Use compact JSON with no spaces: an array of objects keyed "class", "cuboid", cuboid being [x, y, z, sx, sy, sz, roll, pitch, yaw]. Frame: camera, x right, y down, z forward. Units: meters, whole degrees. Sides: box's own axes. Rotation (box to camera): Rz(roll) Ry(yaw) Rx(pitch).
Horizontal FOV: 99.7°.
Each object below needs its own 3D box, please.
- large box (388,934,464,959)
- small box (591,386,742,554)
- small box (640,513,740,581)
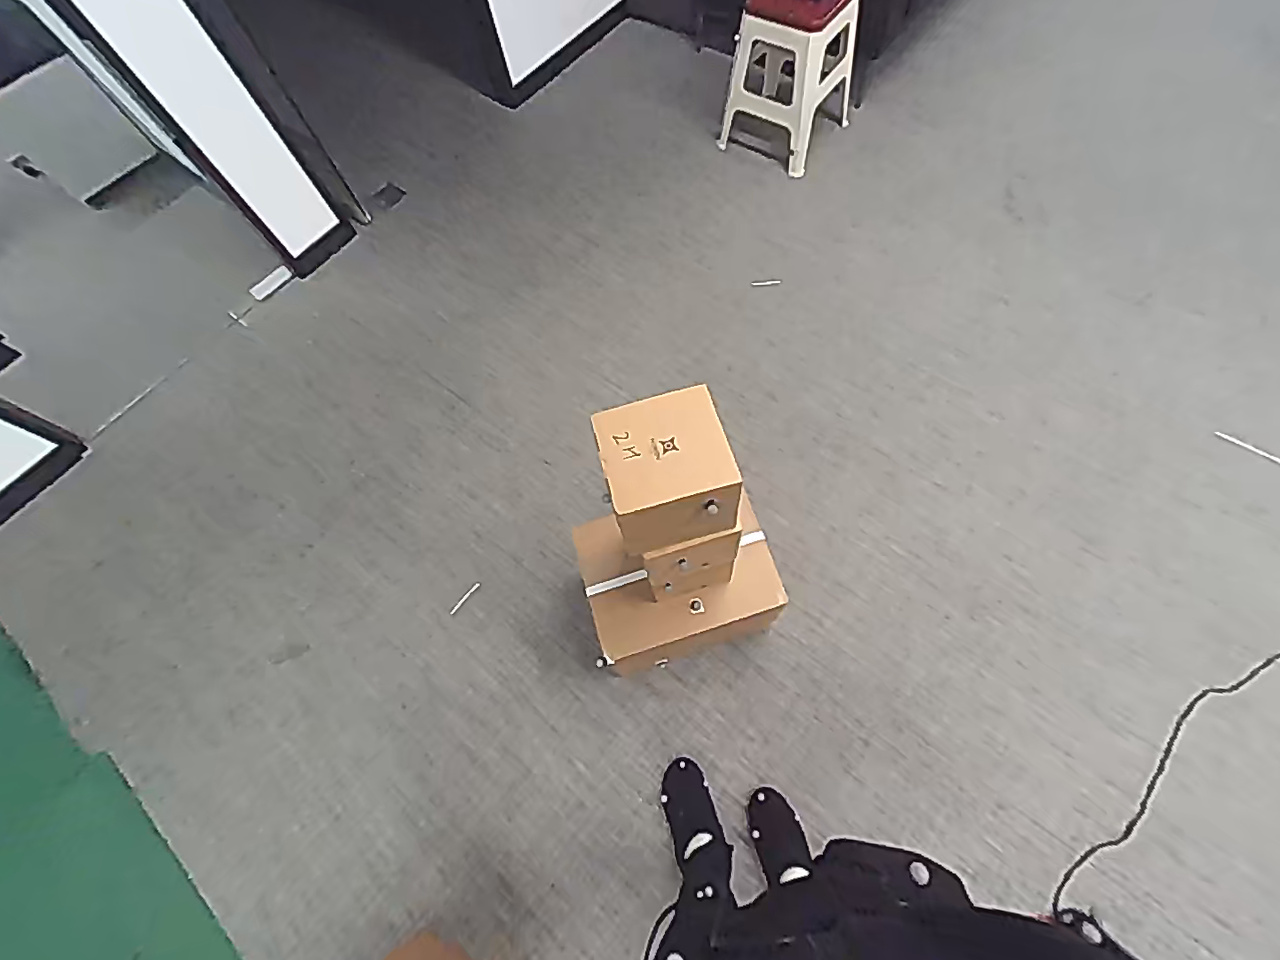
[{"class":"large box","cuboid":[-0.434,1.148,0.949,0.320,0.320,0.408,21,70,16]},{"class":"small box","cuboid":[0.039,-0.008,0.807,0.179,0.176,0.168,-16,62,-1]},{"class":"small box","cuboid":[0.069,0.066,0.952,0.168,0.176,0.179,-17,62,-2]}]
